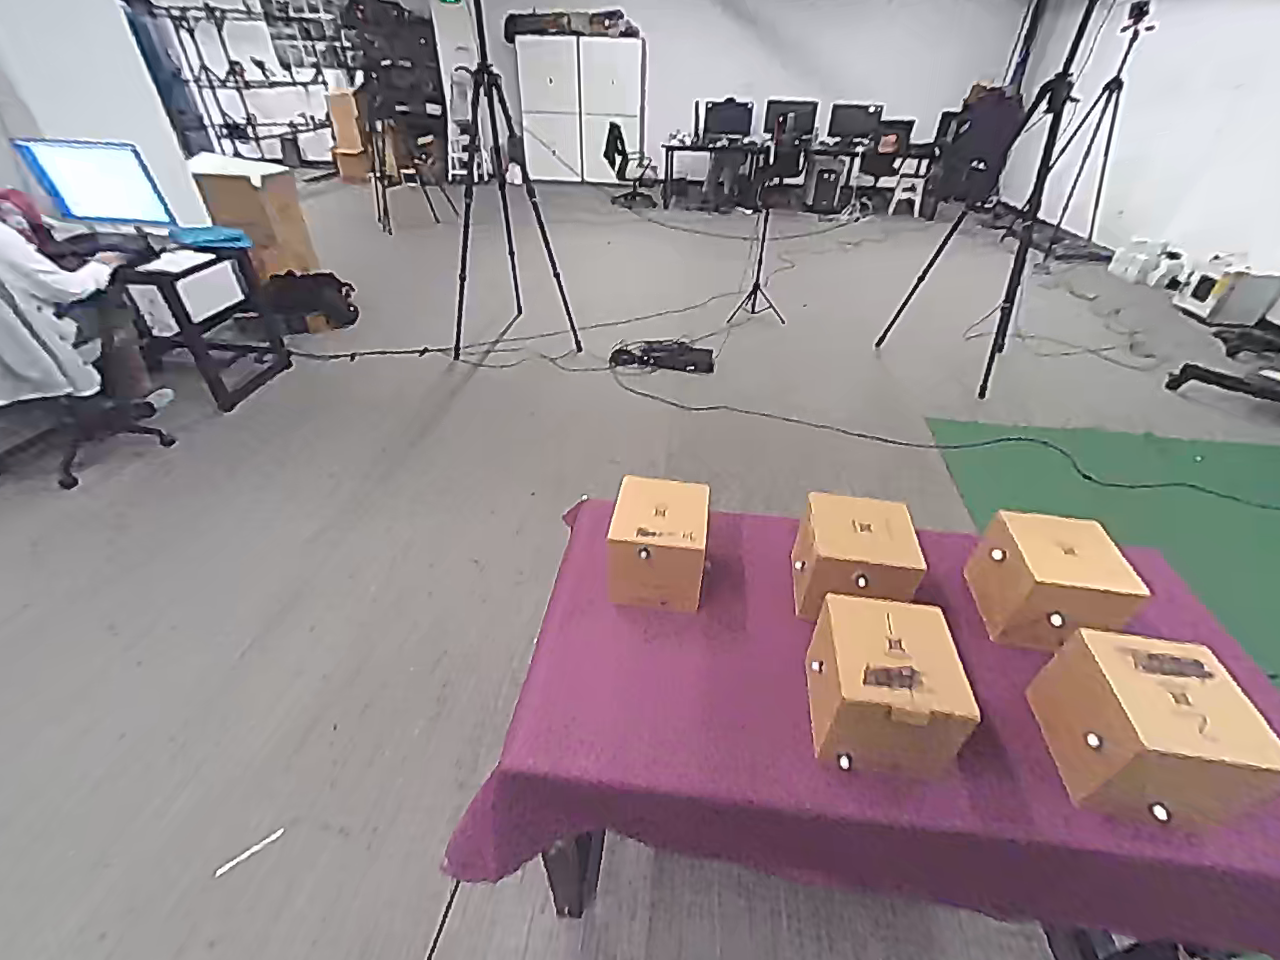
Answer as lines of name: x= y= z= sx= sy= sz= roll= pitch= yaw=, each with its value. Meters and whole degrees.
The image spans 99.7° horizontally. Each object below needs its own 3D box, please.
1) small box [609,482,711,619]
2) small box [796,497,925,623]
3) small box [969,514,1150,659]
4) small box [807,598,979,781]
small box: x=0.037 y=0.127 z=1.002 sx=0.168 sy=0.176 sz=0.179 roll=6 pitch=37 yaw=6
small box: x=0.381 y=0.153 z=0.974 sx=0.179 sy=0.176 sz=0.168 roll=7 pitch=38 yaw=8
small box: x=0.706 y=0.184 z=0.937 sx=0.168 sy=0.176 sz=0.179 roll=6 pitch=36 yaw=8
small box: x=0.344 y=0.299 z=0.775 sx=0.168 sy=0.176 sz=0.179 roll=6 pitch=36 yaw=7
